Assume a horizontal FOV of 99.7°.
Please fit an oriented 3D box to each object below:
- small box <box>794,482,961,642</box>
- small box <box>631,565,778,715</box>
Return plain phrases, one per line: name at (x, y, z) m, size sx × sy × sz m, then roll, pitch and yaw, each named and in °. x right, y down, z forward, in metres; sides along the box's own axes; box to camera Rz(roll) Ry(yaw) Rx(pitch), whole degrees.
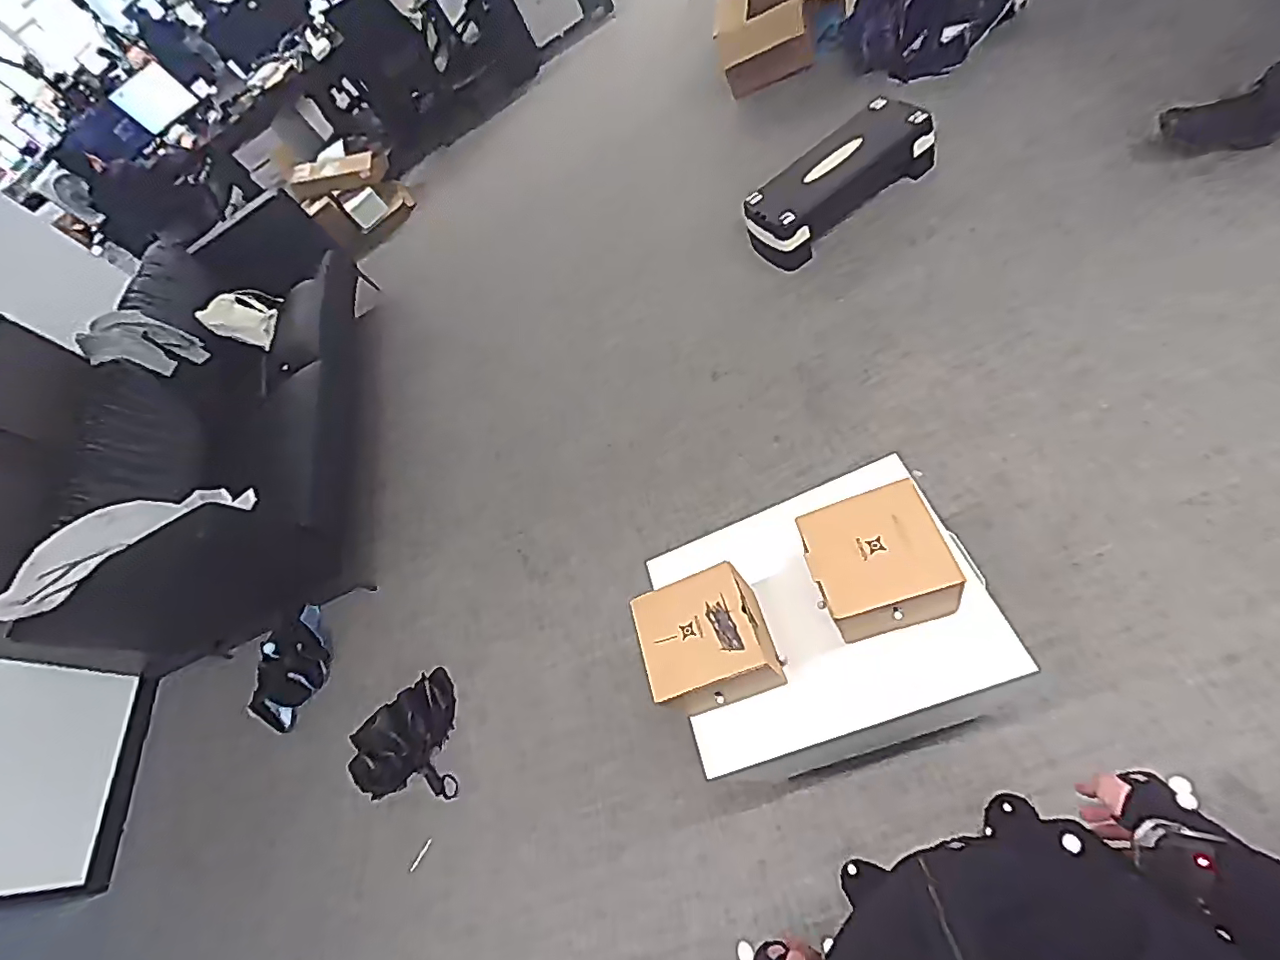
small box at (0.356, 0.134, 0.822) m, size 0.179 × 0.176 × 0.168 m, roll -21°, pitch 57°, yaw 14°
small box at (0.110, 0.263, 0.870) m, size 0.179 × 0.176 × 0.168 m, roll -25°, pitch 54°, yaw 13°
